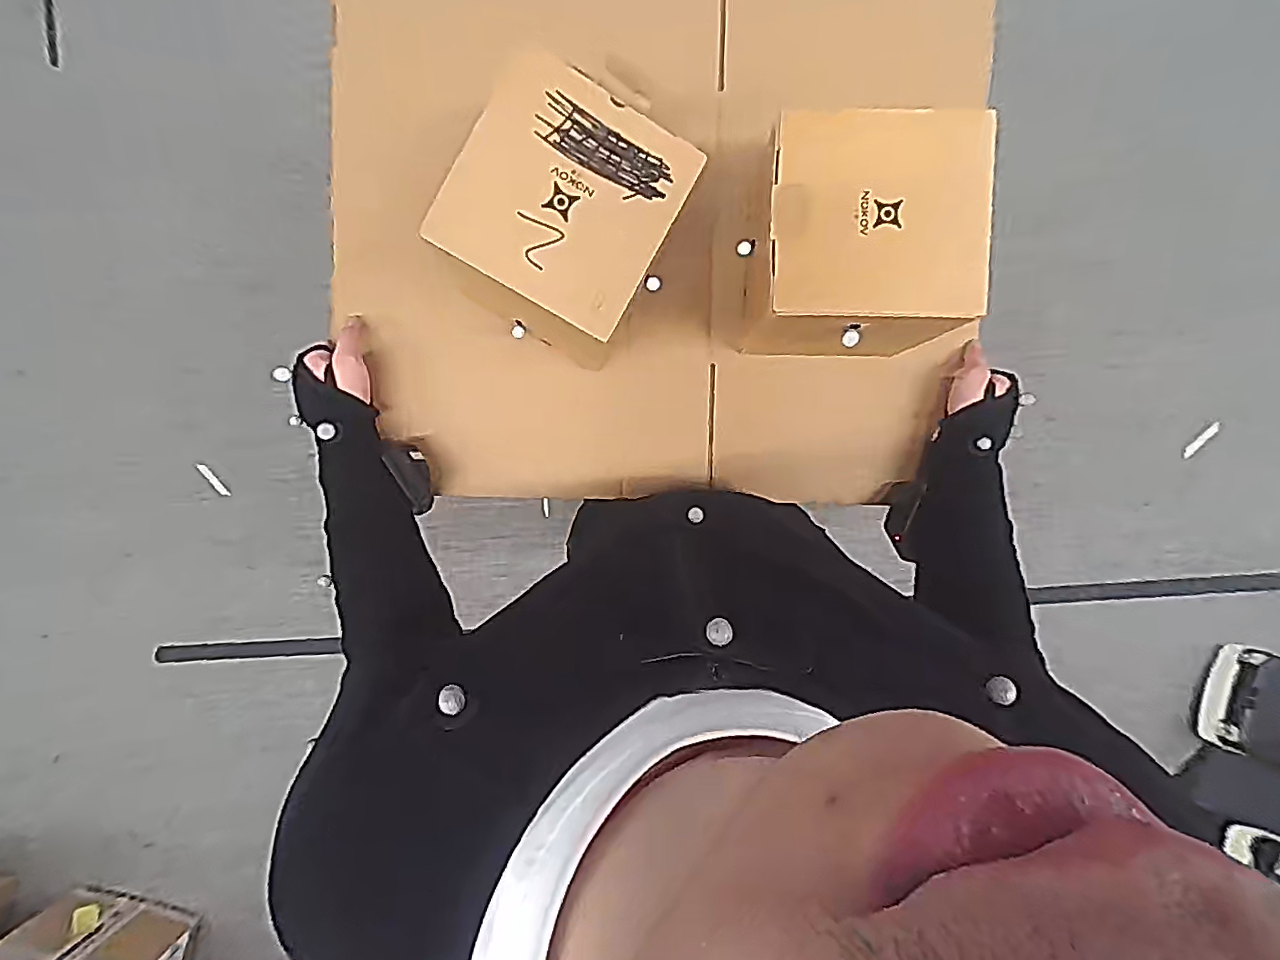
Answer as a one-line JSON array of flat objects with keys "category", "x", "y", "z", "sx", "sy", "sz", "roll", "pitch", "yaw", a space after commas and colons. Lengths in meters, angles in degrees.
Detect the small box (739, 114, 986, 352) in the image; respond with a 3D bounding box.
[{"category": "small box", "x": 0.200, "y": -0.225, "z": 0.533, "sx": 0.179, "sy": 0.176, "sz": 0.168, "roll": 1, "pitch": 92, "yaw": 2}]
